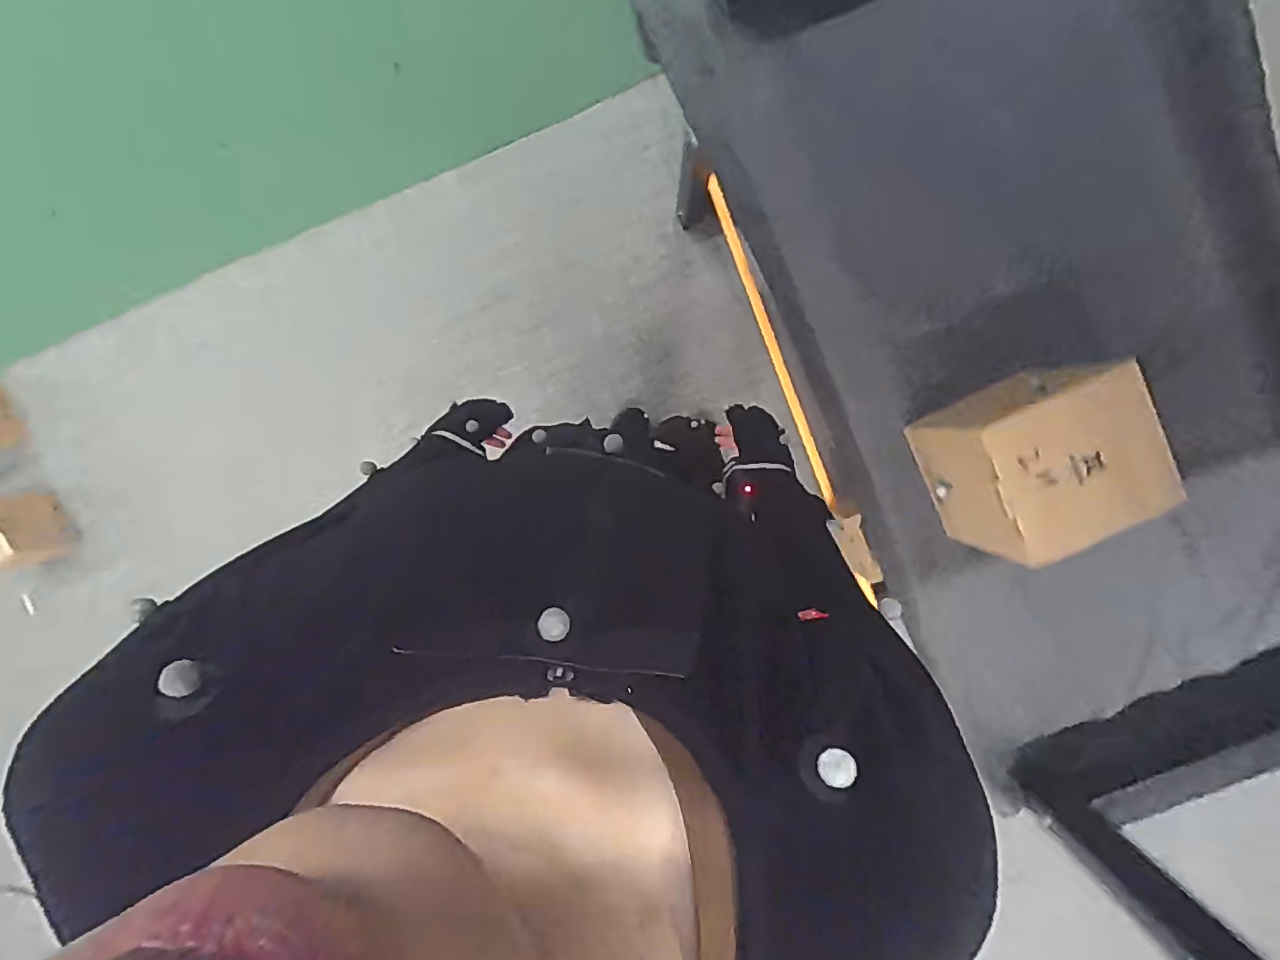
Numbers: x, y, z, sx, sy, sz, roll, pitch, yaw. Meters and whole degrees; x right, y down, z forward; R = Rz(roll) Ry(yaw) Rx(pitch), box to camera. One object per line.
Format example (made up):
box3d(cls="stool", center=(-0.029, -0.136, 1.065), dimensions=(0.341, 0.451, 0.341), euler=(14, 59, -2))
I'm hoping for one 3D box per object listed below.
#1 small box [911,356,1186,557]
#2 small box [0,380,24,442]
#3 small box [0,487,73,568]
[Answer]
box3d(cls="small box", center=(0.471, -0.032, 0.651), dimensions=(0.179, 0.176, 0.168), euler=(-25, 95, 3))
box3d(cls="small box", center=(-1.801, -0.170, 1.407), dimensions=(0.179, 0.176, 0.168), euler=(-21, 96, 2))
box3d(cls="small box", center=(-1.681, 0.130, 1.436), dimensions=(0.179, 0.176, 0.168), euler=(-26, 95, 4))
